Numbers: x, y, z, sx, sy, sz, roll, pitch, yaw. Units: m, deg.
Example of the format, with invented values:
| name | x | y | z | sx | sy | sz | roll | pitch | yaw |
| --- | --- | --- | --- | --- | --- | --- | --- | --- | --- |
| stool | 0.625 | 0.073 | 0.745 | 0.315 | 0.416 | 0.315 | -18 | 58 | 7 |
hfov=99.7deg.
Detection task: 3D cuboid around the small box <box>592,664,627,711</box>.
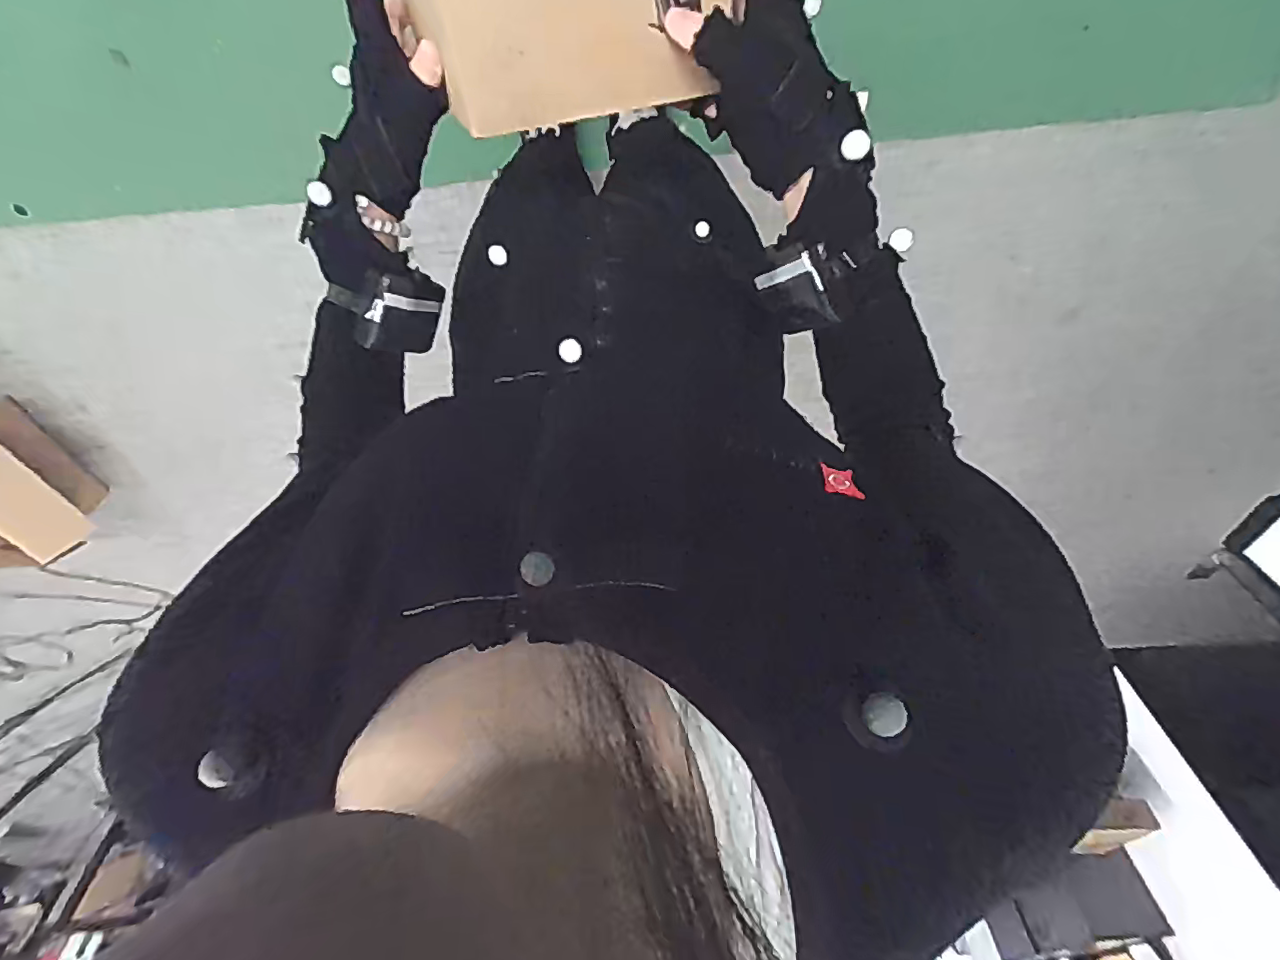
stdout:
| name | x | y | z | sx | sy | sz | roll | pitch | yaw |
| --- | --- | --- | --- | --- | --- | --- | --- | --- | --- |
| small box | -0.156 | 1.077 | 2.808 | 0.168 | 0.176 | 0.179 | -6 | 134 | 2 |
